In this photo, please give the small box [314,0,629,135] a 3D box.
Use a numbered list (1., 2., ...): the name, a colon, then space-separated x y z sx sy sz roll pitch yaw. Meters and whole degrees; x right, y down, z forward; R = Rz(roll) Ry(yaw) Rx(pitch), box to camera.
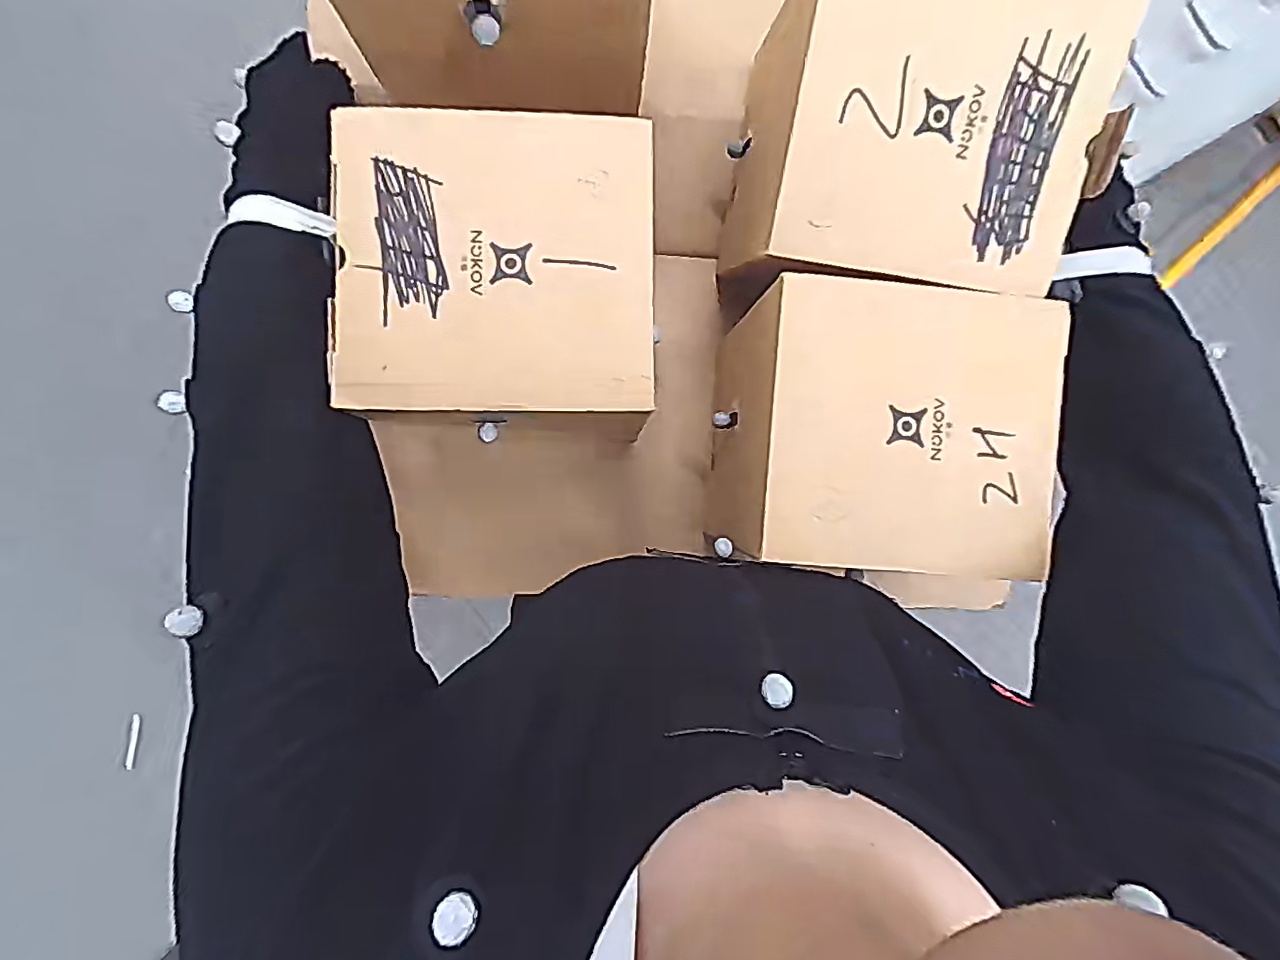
1. small box: -0.099 -0.347 0.338 0.179 0.176 0.168 -6 94 -3
